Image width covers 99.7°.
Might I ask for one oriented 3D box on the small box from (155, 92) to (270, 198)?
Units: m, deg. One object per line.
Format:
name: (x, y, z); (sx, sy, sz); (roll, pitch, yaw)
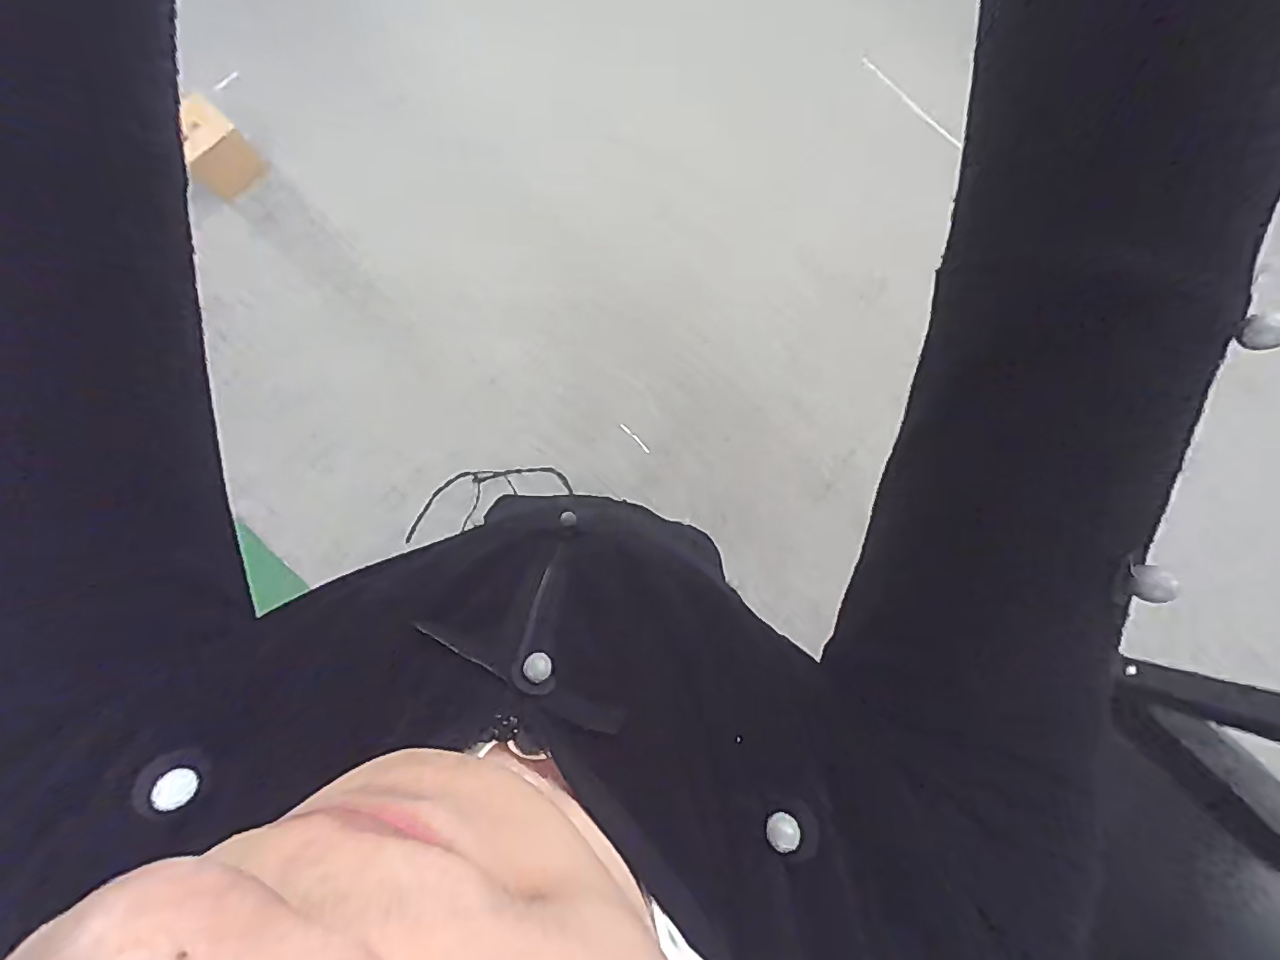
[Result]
small box: (-1.277, -1.000, 1.631); (0.168, 0.176, 0.179); (44, 82, 2)
